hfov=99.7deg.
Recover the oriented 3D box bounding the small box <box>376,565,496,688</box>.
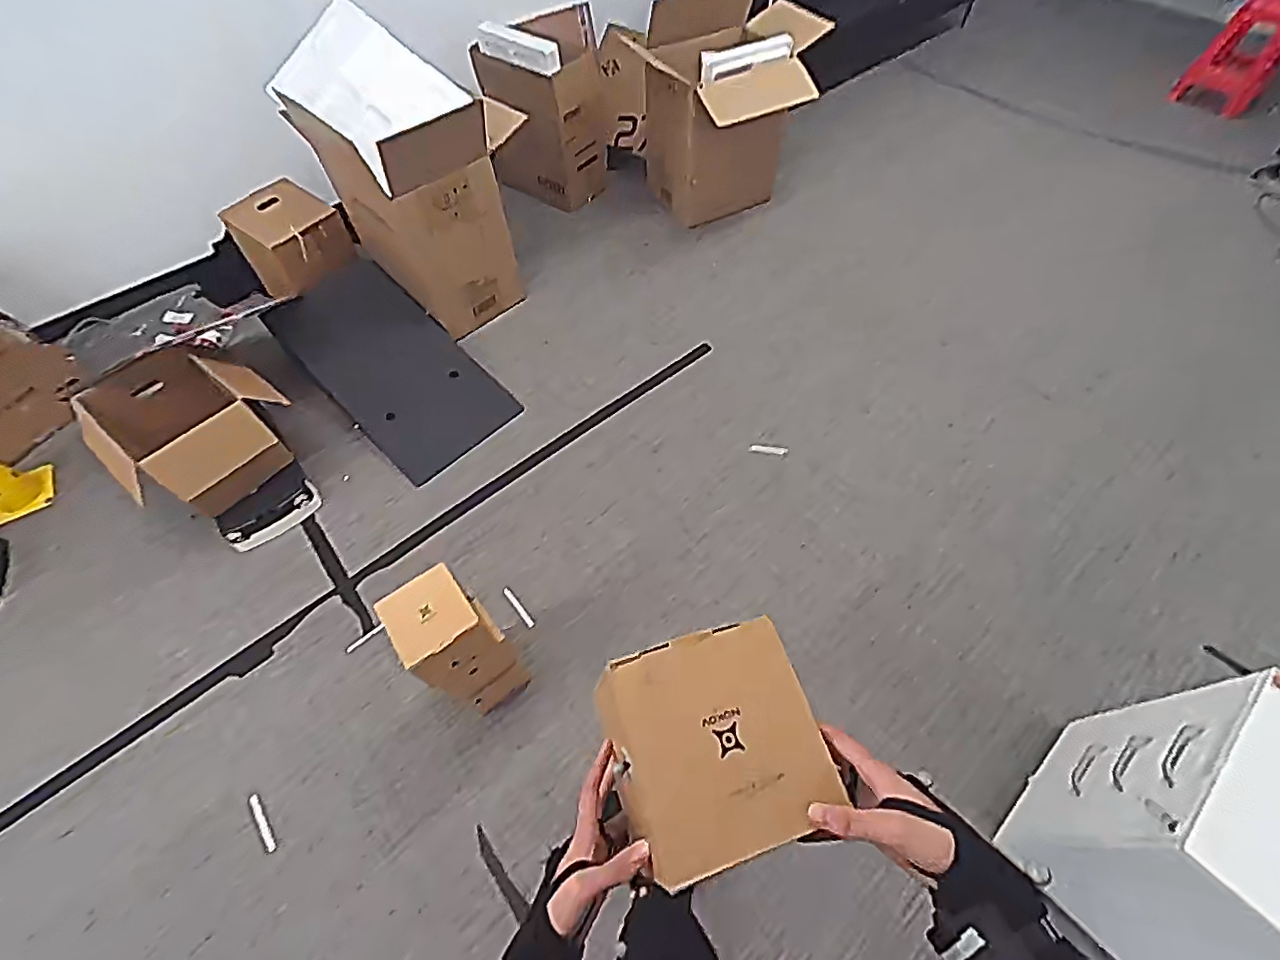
[{"bbox_3d":[-0.444,0.328,1.195,0.168,0.176,0.179,-34,63,-20],"label":"small box"}]

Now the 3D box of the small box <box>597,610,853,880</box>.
[{"bbox_3d":[0.061,0.251,0.522,0.168,0.176,0.179,-11,61,-16],"label":"small box"}]

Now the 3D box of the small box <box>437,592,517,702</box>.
[{"bbox_3d":[-0.428,0.416,1.331,0.179,0.176,0.168,-35,62,-21],"label":"small box"}]
